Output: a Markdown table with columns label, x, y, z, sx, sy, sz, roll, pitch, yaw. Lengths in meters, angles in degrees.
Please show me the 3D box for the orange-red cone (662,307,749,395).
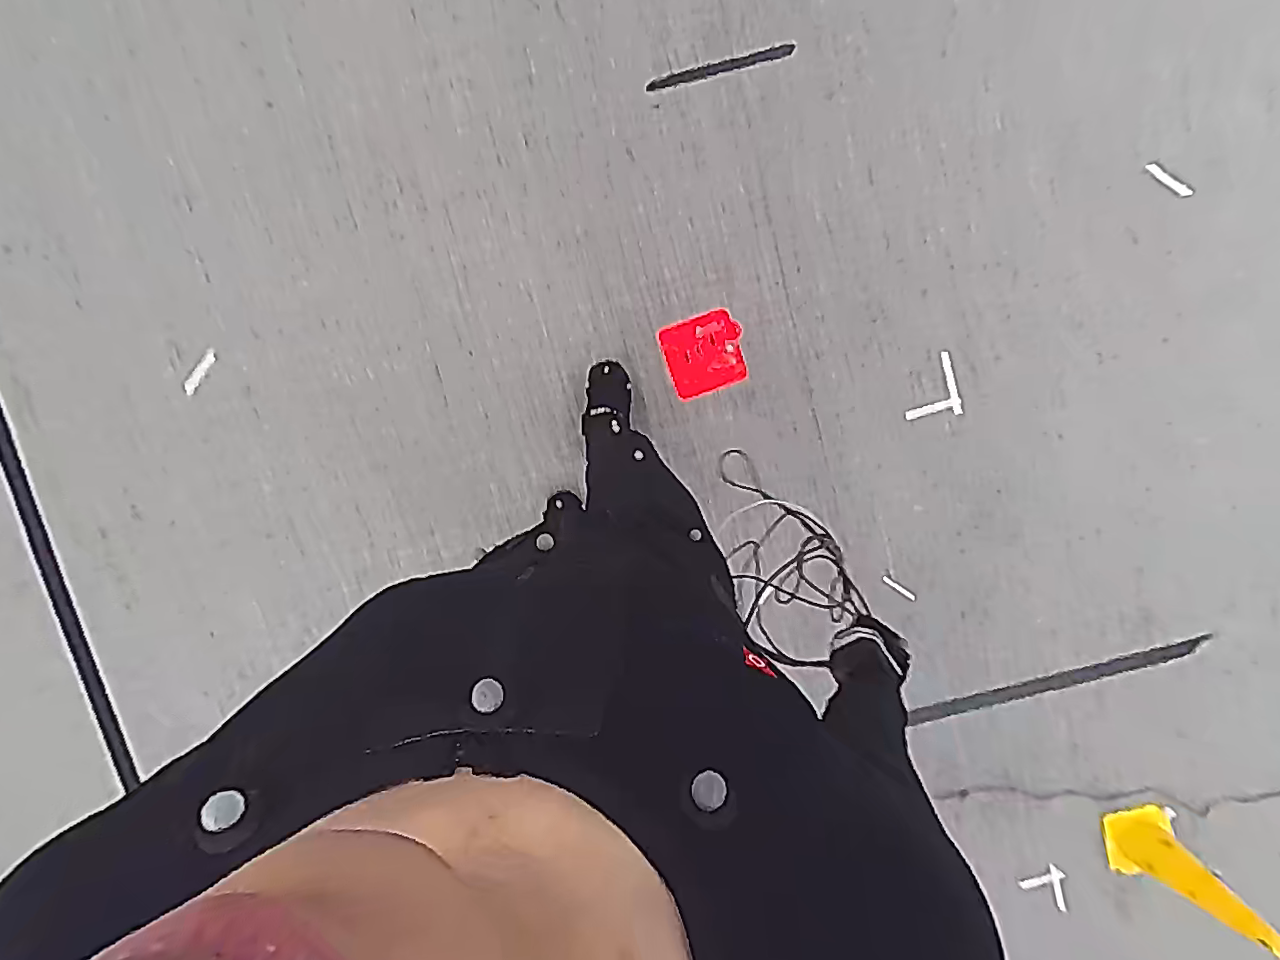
| label | x | y | z | sx | sy | sz | roll | pitch | yaw |
| --- | --- | --- | --- | --- | --- | --- | --- | --- | --- |
| orange-red cone | 0.178 | -0.322 | 1.249 | 0.199 | 0.360 | 0.198 | -18 | 95 | 1 |
